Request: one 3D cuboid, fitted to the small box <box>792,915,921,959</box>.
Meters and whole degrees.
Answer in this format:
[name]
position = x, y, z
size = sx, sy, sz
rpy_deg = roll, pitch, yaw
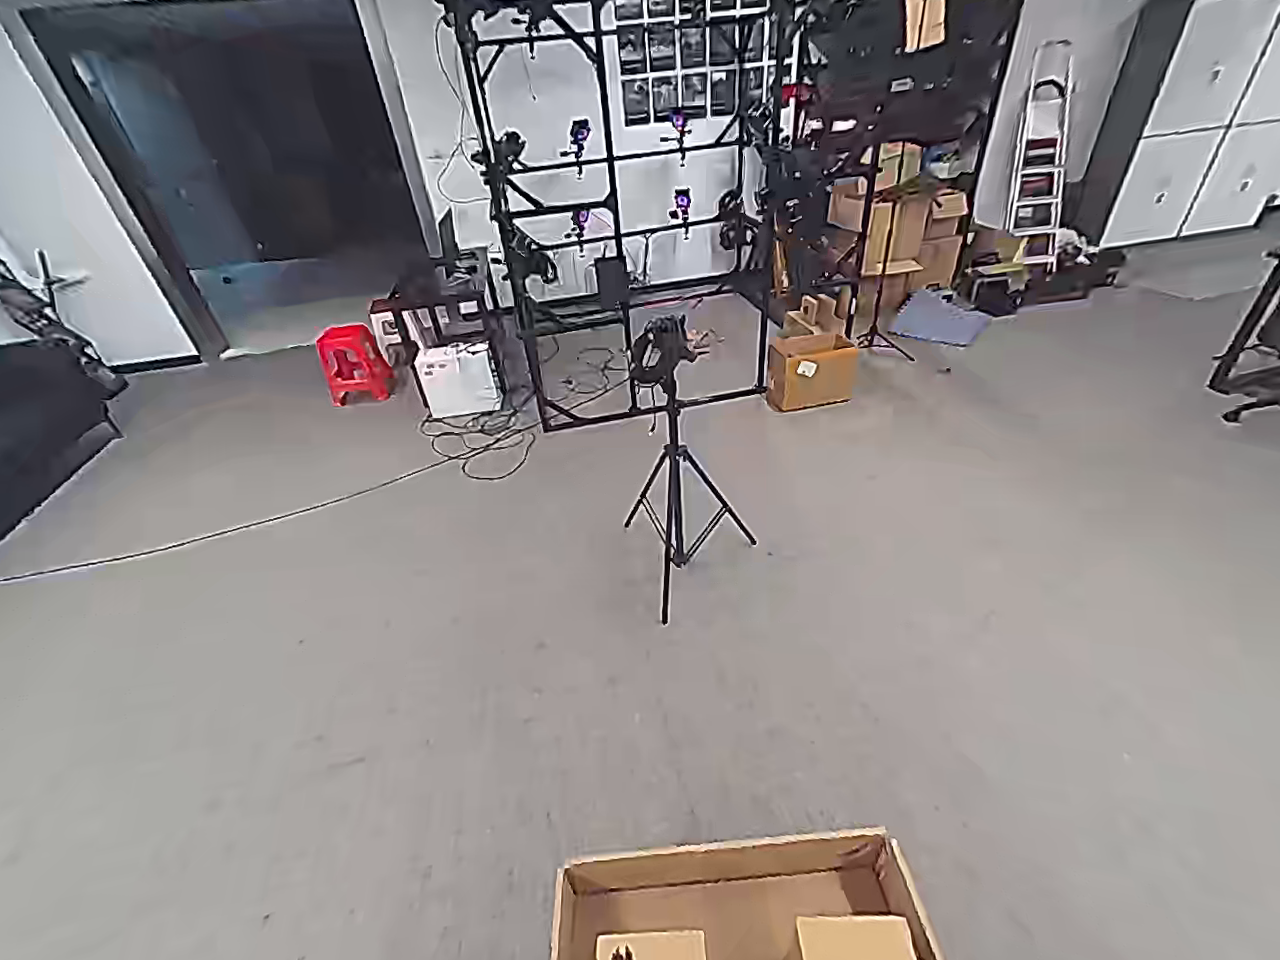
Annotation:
[small box]
position = 0.343, 0.807, 0.840
size = 0.179, 0.176, 0.168
rpy_deg = -4, 34, 5
